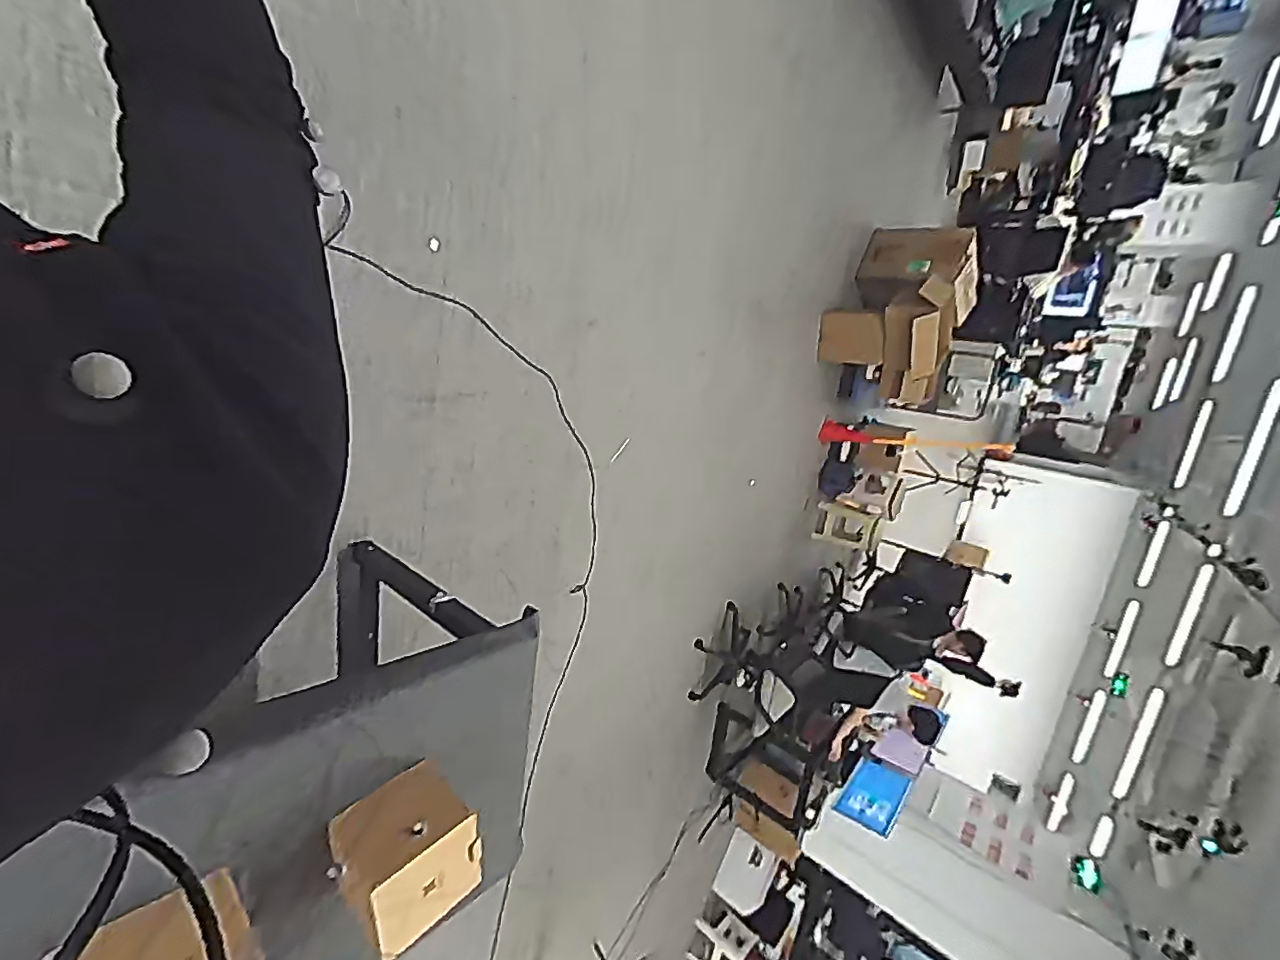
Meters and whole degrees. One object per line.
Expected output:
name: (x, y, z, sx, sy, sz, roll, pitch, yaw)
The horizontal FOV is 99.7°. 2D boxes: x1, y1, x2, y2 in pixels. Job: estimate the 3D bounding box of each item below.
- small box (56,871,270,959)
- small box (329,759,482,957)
small box: (-0.591, 0.646, 0.670, 0.179, 0.176, 0.168, -5, 108, -50)
small box: (-0.392, 0.621, 0.915, 0.179, 0.176, 0.168, -20, 118, -45)
